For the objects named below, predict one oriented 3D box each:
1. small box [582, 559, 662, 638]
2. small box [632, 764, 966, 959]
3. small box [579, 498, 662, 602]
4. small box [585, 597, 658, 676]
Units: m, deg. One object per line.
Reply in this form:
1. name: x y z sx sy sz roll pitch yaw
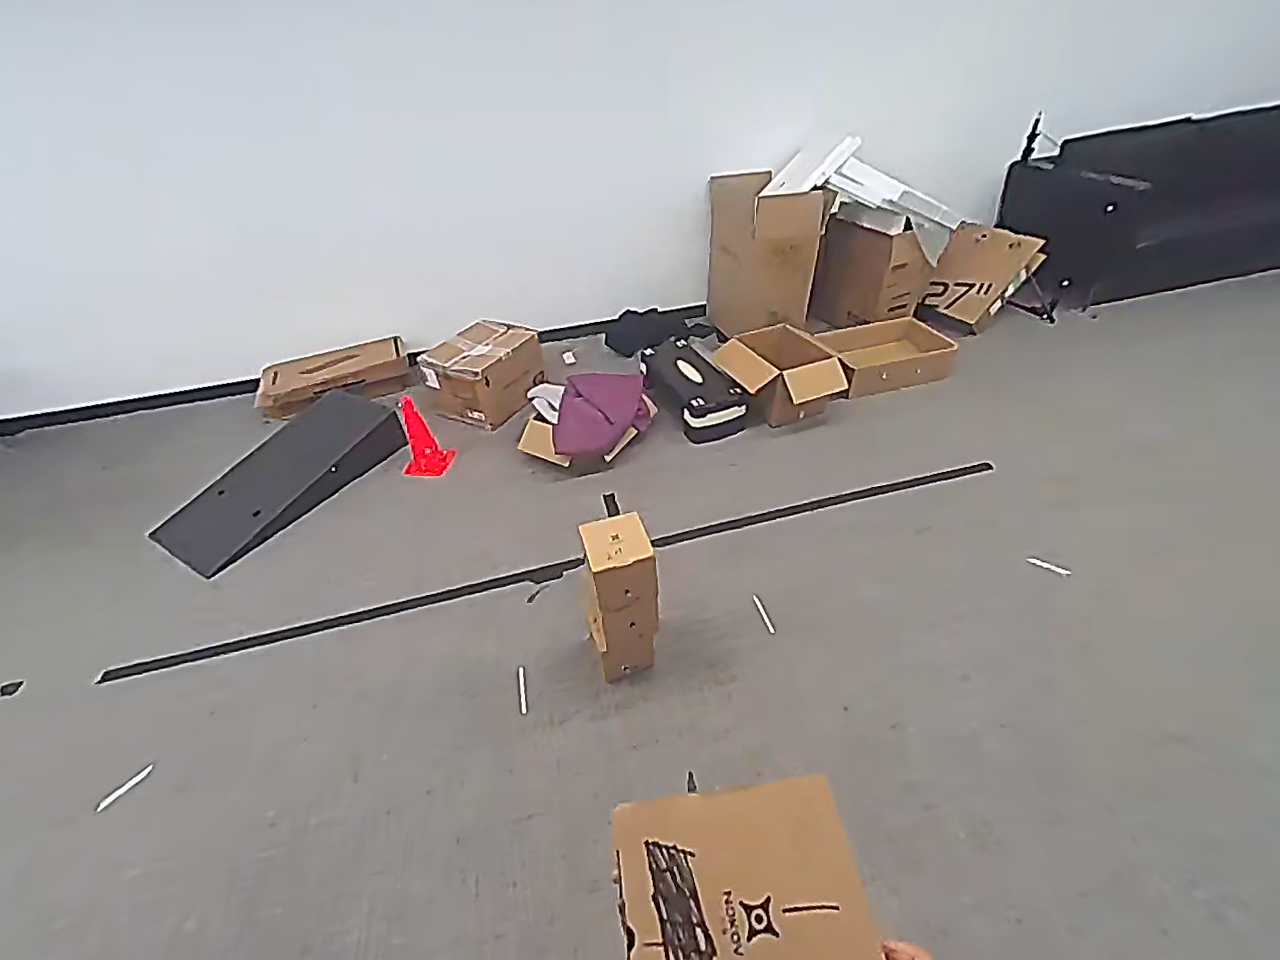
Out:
1. small box: -0.046 0.308 1.477 0.168 0.176 0.179 -17 42 -14
2. small box: 0.093 0.313 0.364 0.179 0.176 0.168 -7 49 -4
3. small box: -0.049 0.177 1.374 0.168 0.176 0.179 -15 41 -10
4. small box: -0.054 0.437 1.580 0.168 0.176 0.179 -17 43 -13
